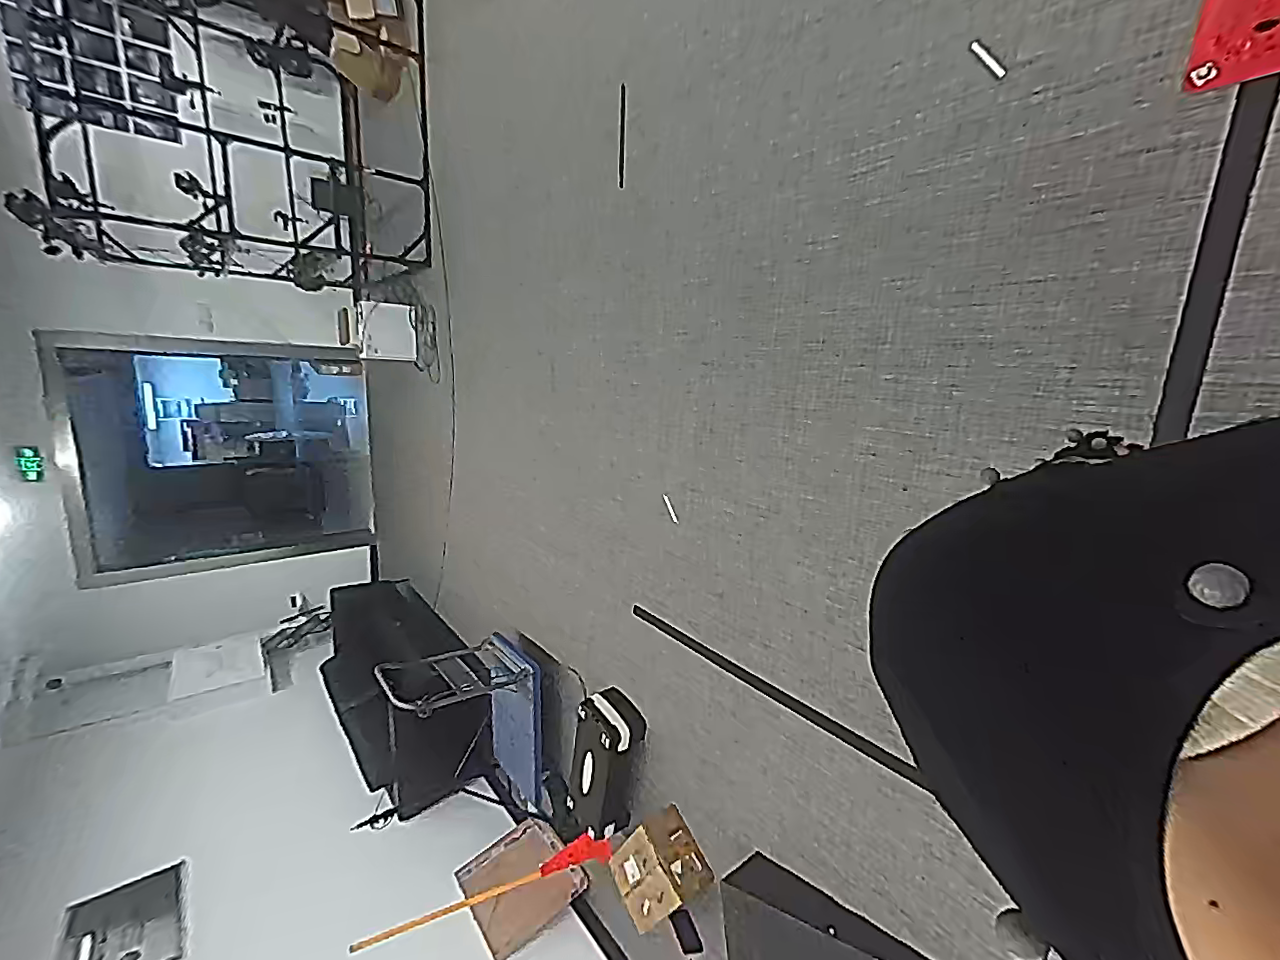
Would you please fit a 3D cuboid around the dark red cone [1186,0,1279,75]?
[{"bbox_3d":[0.884,-0.760,0.745,0.201,0.394,0.202,16,107,49],"label":"dark red cone"}]
